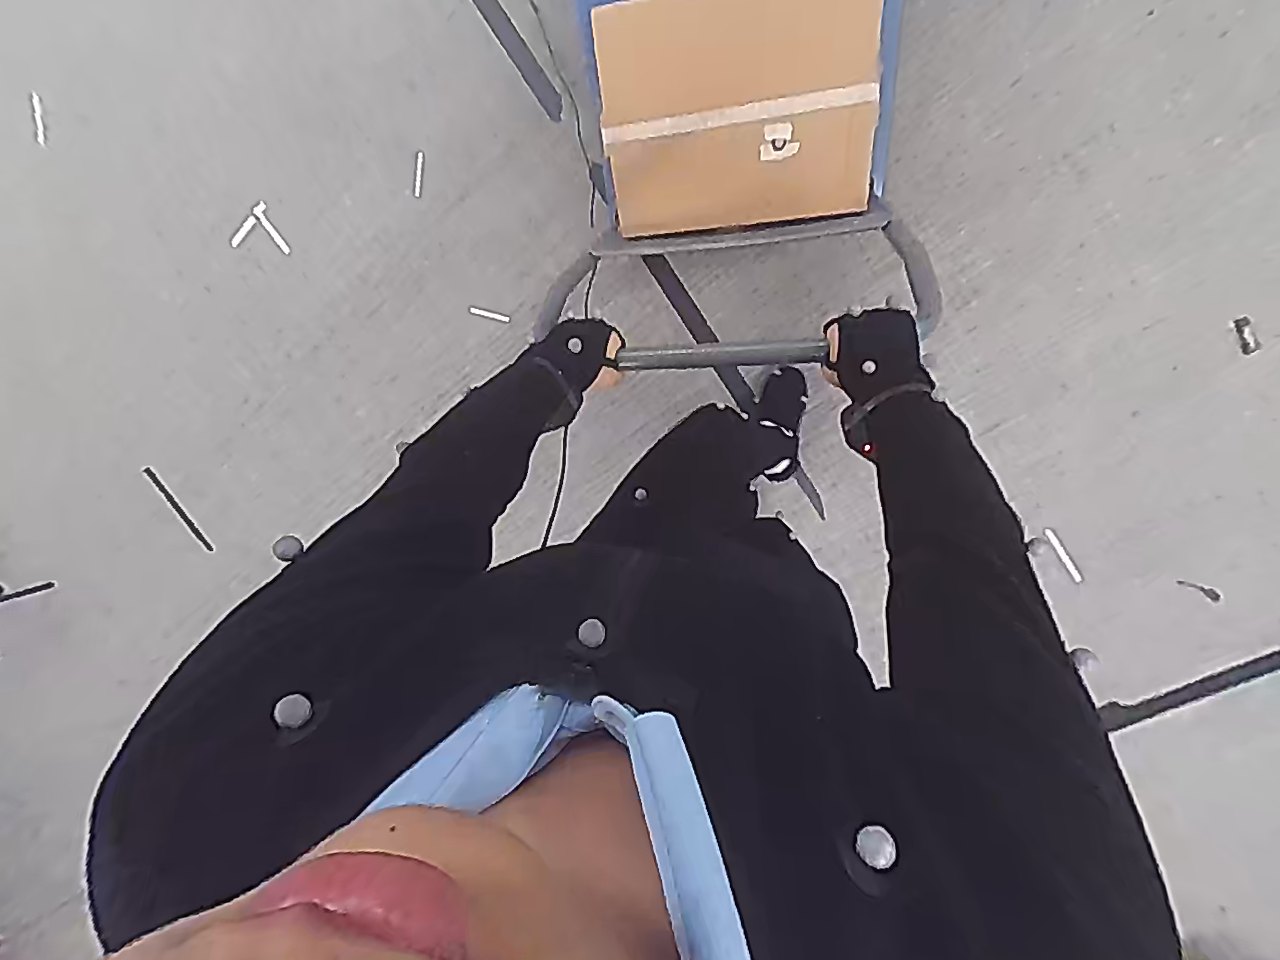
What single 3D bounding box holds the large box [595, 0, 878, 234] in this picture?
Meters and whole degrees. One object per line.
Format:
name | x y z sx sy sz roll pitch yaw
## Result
large box | 0.172 -0.647 0.955 0.408 0.320 0.320 -1 123 13
